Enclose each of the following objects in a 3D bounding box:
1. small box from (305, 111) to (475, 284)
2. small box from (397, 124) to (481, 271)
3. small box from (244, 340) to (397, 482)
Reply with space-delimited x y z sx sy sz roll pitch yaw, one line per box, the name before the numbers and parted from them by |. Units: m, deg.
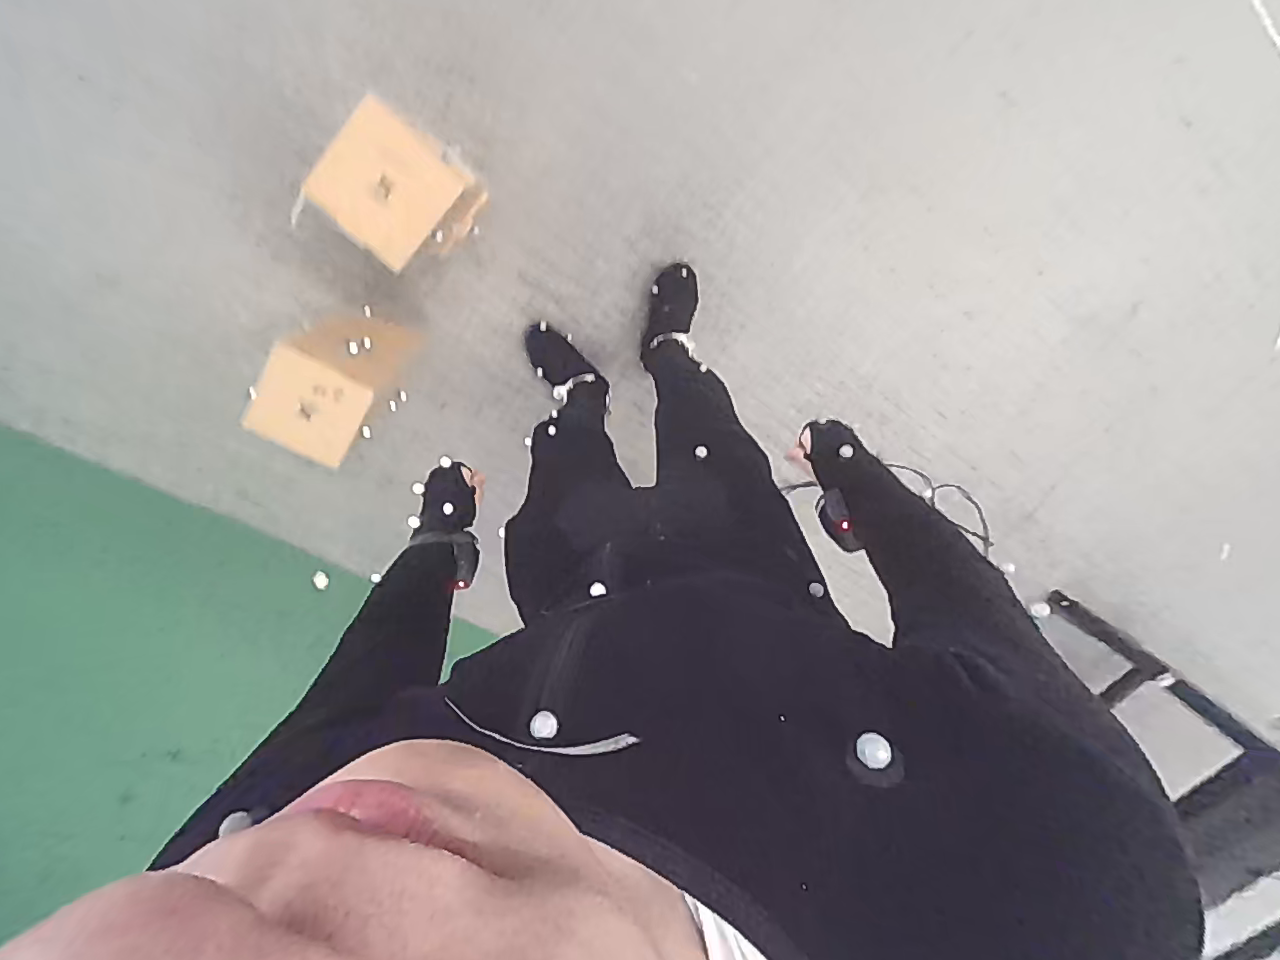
small box | -0.392 -0.450 0.884 0.179 0.176 0.168 -44 114 12
small box | -0.419 -0.526 1.025 0.168 0.176 0.179 37 105 -21
small box | -0.575 -0.132 0.998 0.168 0.176 0.179 29 107 -19
